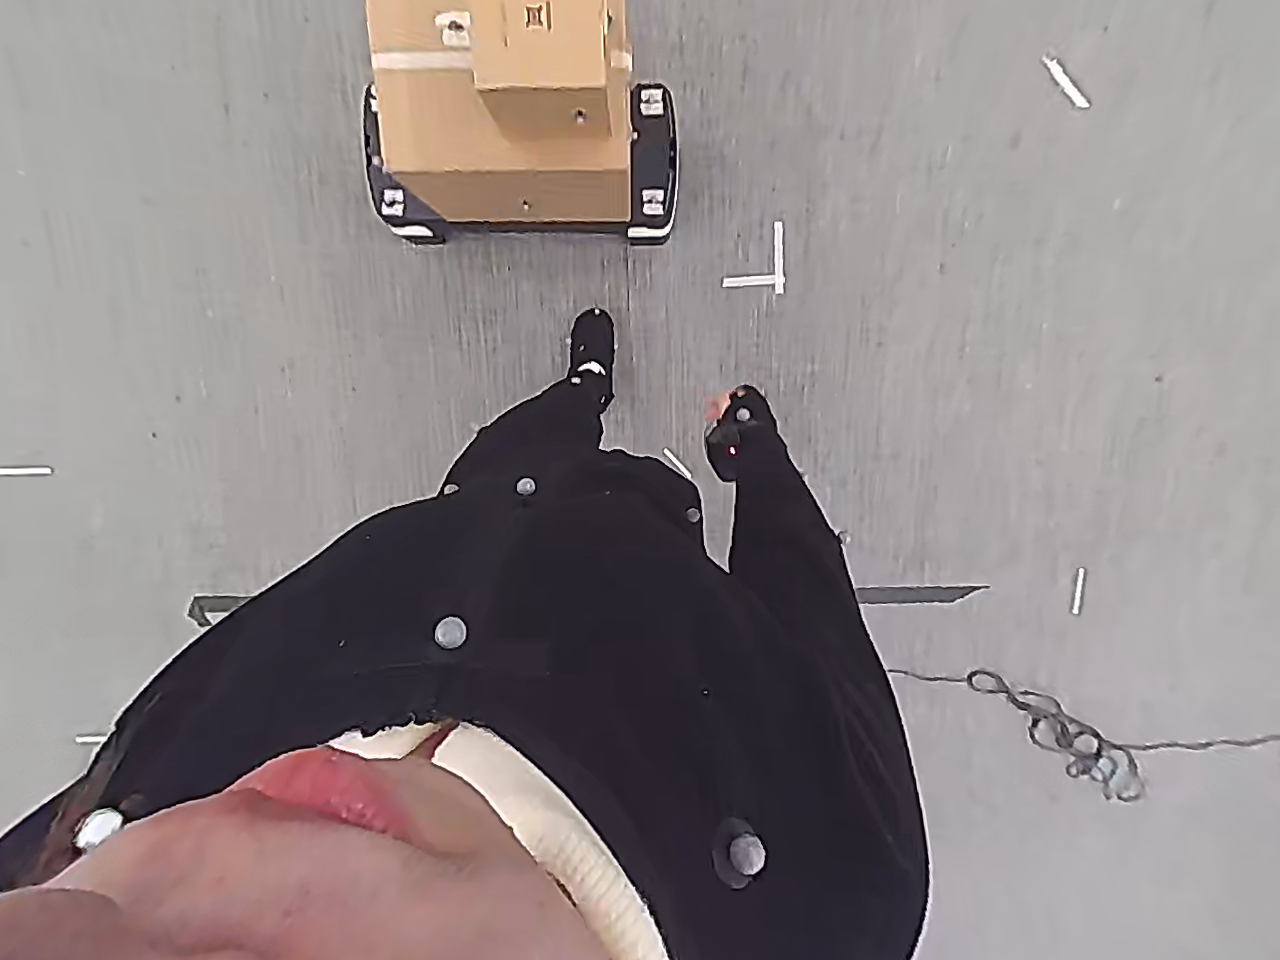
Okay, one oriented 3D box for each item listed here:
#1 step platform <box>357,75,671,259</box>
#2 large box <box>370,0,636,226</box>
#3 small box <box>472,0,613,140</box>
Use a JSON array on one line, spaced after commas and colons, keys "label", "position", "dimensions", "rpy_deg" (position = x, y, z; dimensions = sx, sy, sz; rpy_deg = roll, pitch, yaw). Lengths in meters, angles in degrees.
[{"label": "step platform", "position": [-0.271, -0.699, 1.233], "dimensions": [0.684, 0.204, 0.286], "rpy_deg": [5, 101, -1]}, {"label": "large box", "position": [-0.214, -0.673, 0.996], "dimensions": [0.408, 0.320, 0.320], "rpy_deg": [-1, 100, 0]}, {"label": "small box", "position": [-0.126, -0.602, 0.761], "dimensions": [0.179, 0.176, 0.168], "rpy_deg": [-1, 101, 0]}]
